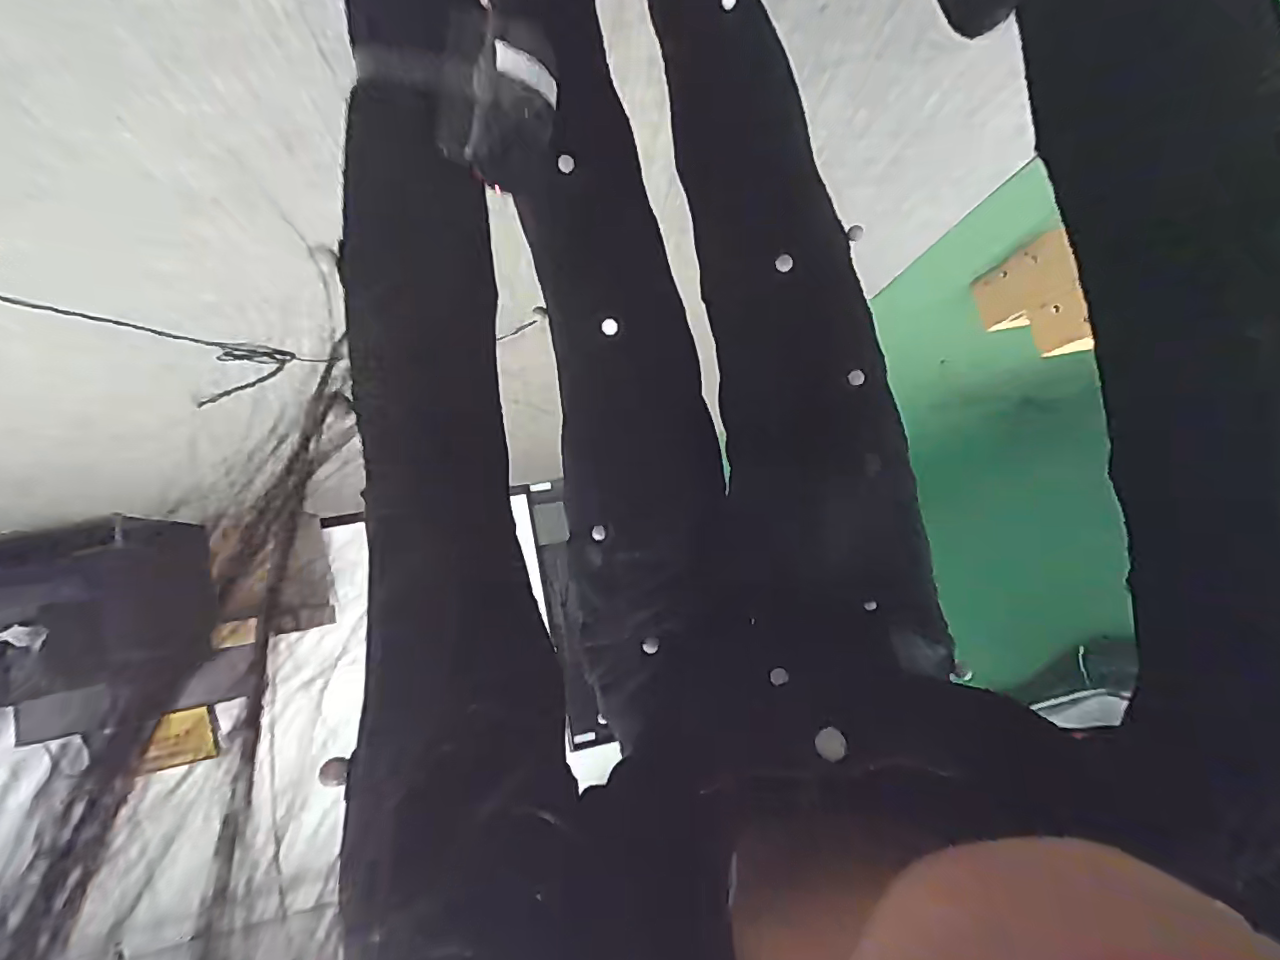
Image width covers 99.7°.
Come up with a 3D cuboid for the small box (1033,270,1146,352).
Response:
[{"bbox_3d":[1.311,-0.497,1.588,0.179,0.176,0.168,-10,173,-6],"label":"small box"}]
